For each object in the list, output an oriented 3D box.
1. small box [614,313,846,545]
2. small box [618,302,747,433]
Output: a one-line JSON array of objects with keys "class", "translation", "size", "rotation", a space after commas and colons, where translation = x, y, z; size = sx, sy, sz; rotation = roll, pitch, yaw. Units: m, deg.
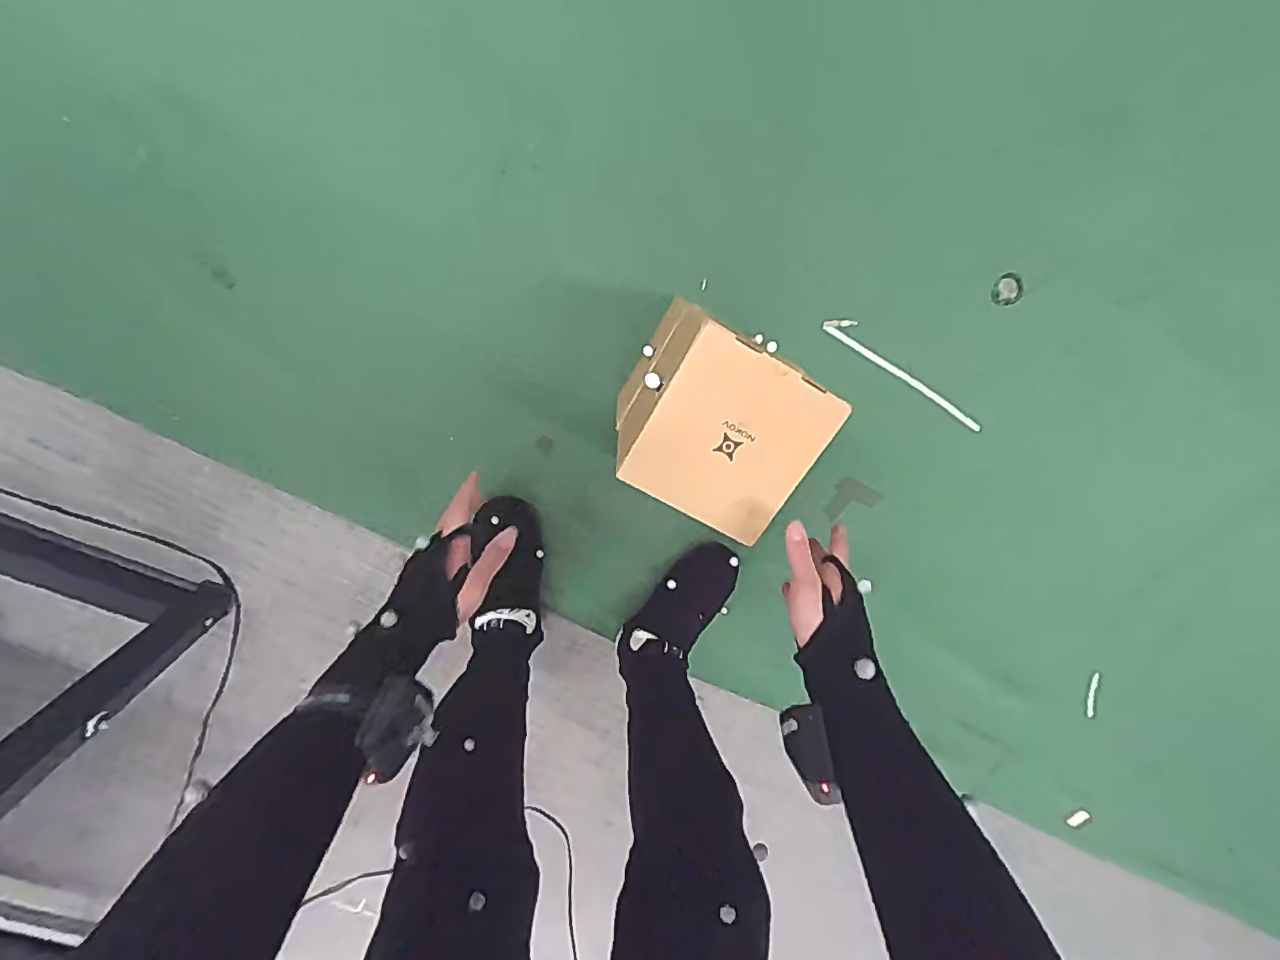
[{"class": "small box", "translation": [0.086, -0.066, 0.599], "size": [0.168, 0.176, 0.179], "rotation": [28, 108, -11]}, {"class": "small box", "translation": [0.080, -0.128, 0.748], "size": [0.168, 0.176, 0.179], "rotation": [28, 110, -11]}]
